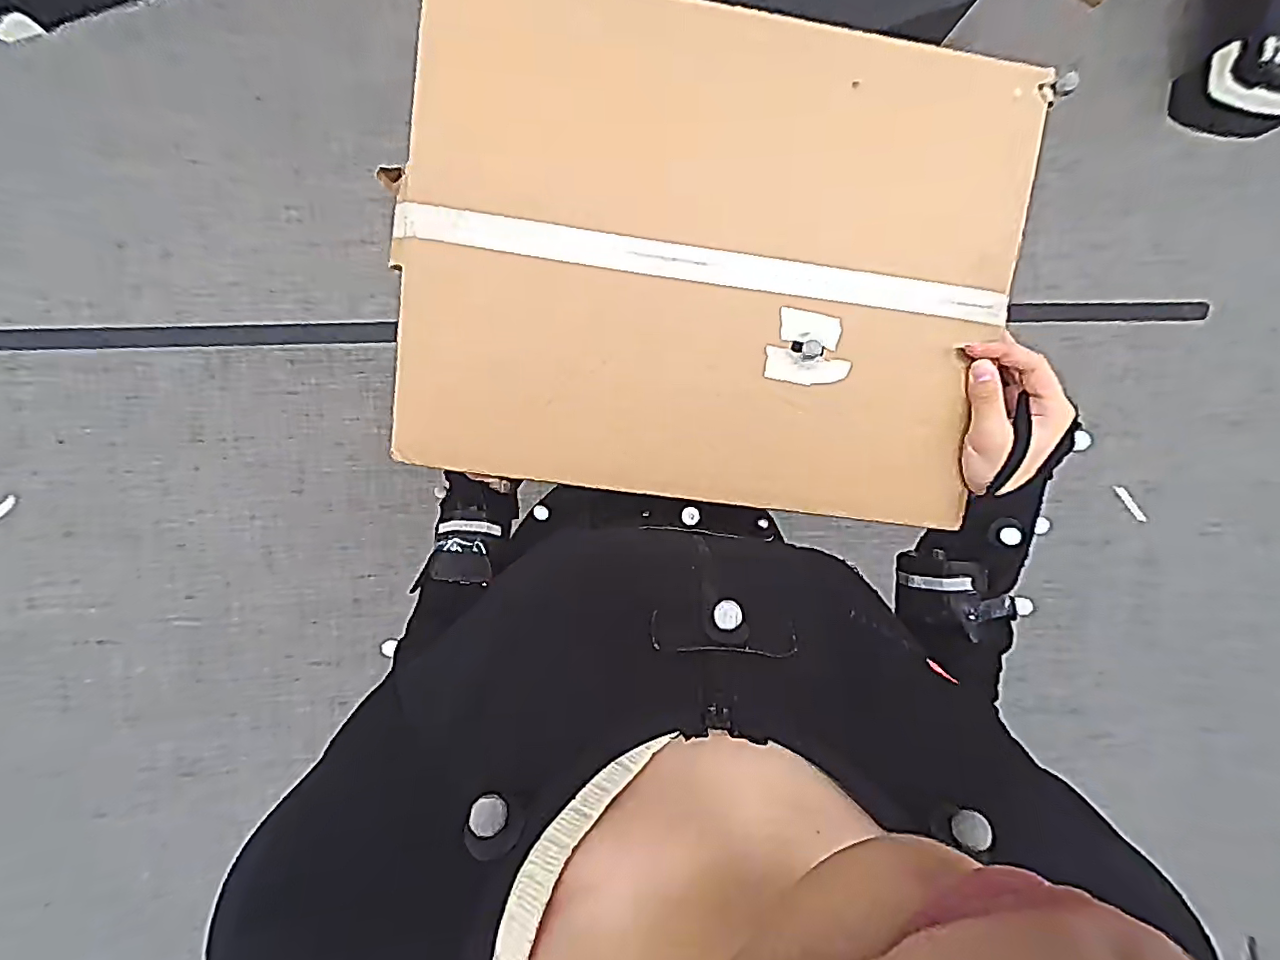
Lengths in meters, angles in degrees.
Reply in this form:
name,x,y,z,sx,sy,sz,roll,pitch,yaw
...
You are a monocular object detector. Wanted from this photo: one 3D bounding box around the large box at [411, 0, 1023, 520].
name,x,y,z,sx,sy,sz,roll,pitch,yaw
large box,0.040,-0.156,0.517,0.408,0.320,0.320,6,98,-6
